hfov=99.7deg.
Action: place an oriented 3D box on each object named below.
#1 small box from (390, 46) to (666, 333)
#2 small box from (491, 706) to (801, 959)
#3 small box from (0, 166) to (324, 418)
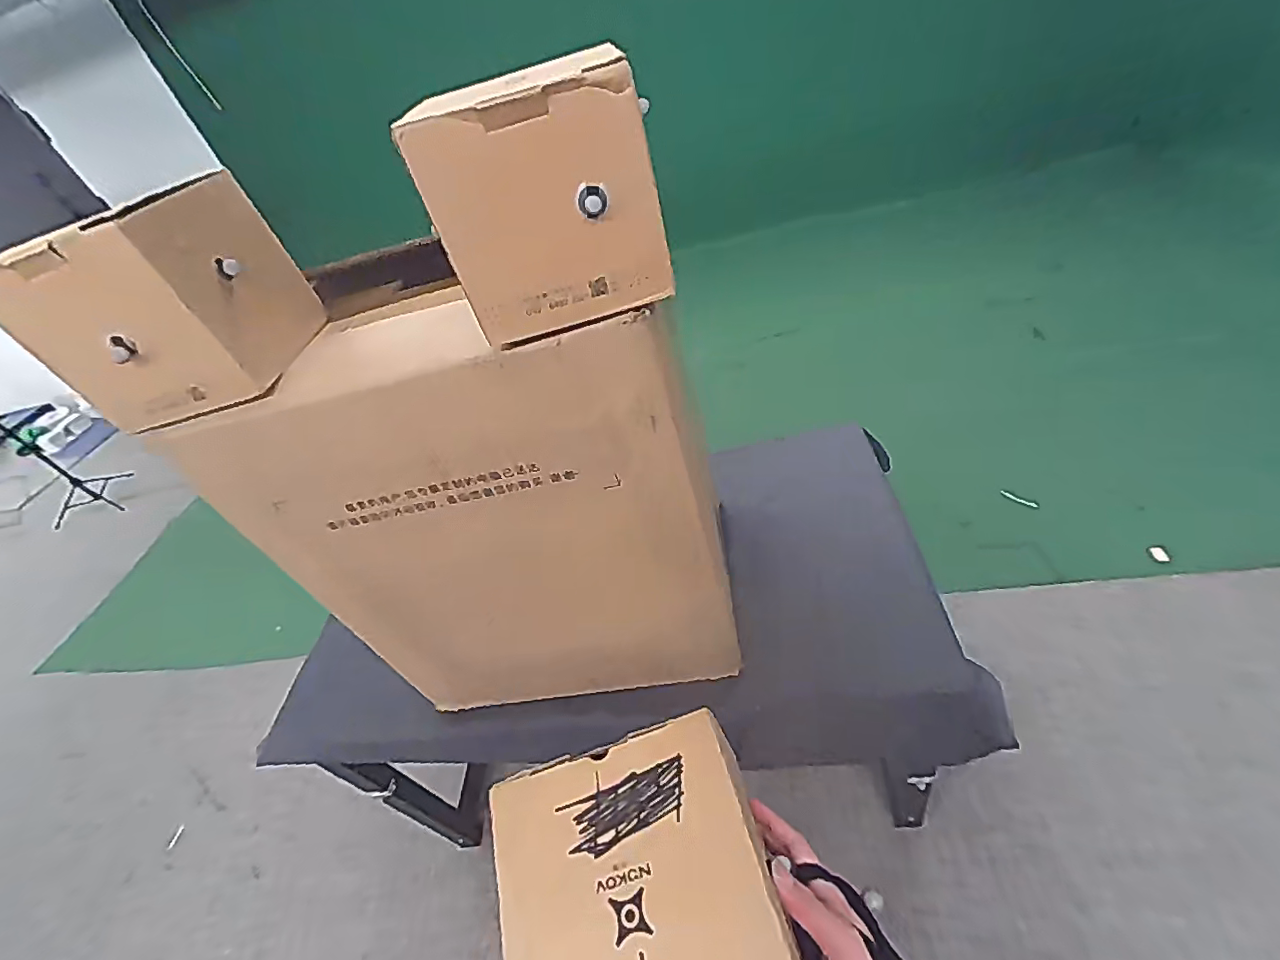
[{"bbox_3d":[-0.079,-0.244,0.467,0.168,0.176,0.179,-13,41,3],"label":"small box"},{"bbox_3d":[0.010,0.295,0.391,0.168,0.176,0.179,-21,52,2],"label":"small box"},{"bbox_3d":[-0.463,-0.180,0.544,0.168,0.176,0.179,-13,42,8],"label":"small box"}]
